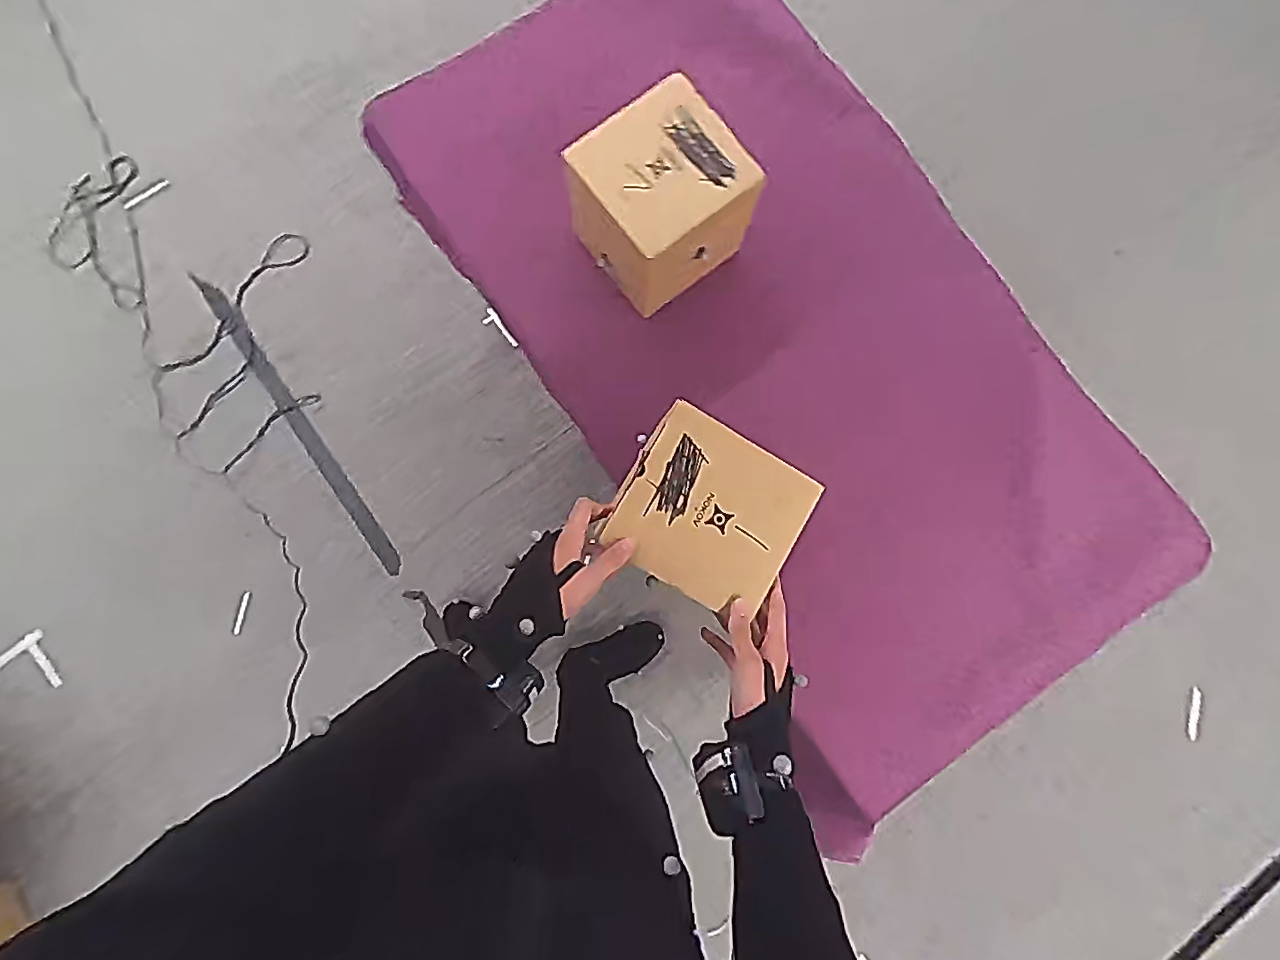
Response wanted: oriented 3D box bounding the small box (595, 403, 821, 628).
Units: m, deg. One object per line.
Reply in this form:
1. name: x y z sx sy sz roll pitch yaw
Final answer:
1. small box: 0.061 0.040 0.610 0.179 0.176 0.168 30 84 -3

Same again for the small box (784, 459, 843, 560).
1. small box: 0.336 0.076 1.280 0.179 0.176 0.168 -35 85 -6
